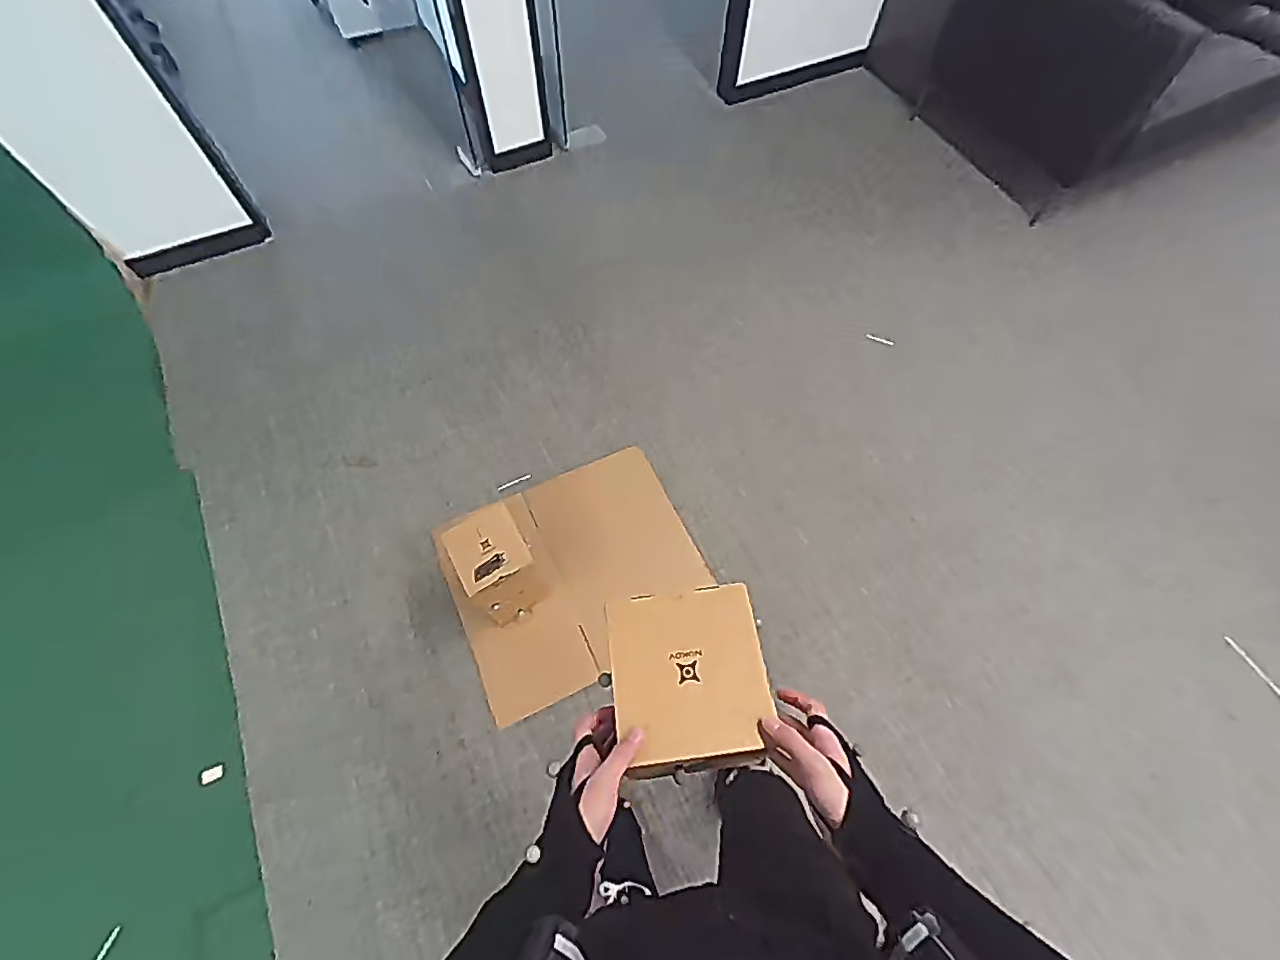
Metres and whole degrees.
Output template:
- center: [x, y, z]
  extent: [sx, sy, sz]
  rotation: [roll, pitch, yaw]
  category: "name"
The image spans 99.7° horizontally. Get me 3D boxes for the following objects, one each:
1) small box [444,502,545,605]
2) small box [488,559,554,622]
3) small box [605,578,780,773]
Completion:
- center: [-0.349, 0.189, 1.323]
  extent: [0.168, 0.176, 0.179]
  rotation: [-27, 67, -13]
  category: "small box"
- center: [-0.351, 0.260, 1.470]
  extent: [0.168, 0.176, 0.179]
  rotation: [-30, 69, -15]
  category: "small box"
- center: [0.055, 0.238, 0.641]
  extent: [0.168, 0.176, 0.179]
  rotation: [-8, 56, -2]
  category: "small box"
